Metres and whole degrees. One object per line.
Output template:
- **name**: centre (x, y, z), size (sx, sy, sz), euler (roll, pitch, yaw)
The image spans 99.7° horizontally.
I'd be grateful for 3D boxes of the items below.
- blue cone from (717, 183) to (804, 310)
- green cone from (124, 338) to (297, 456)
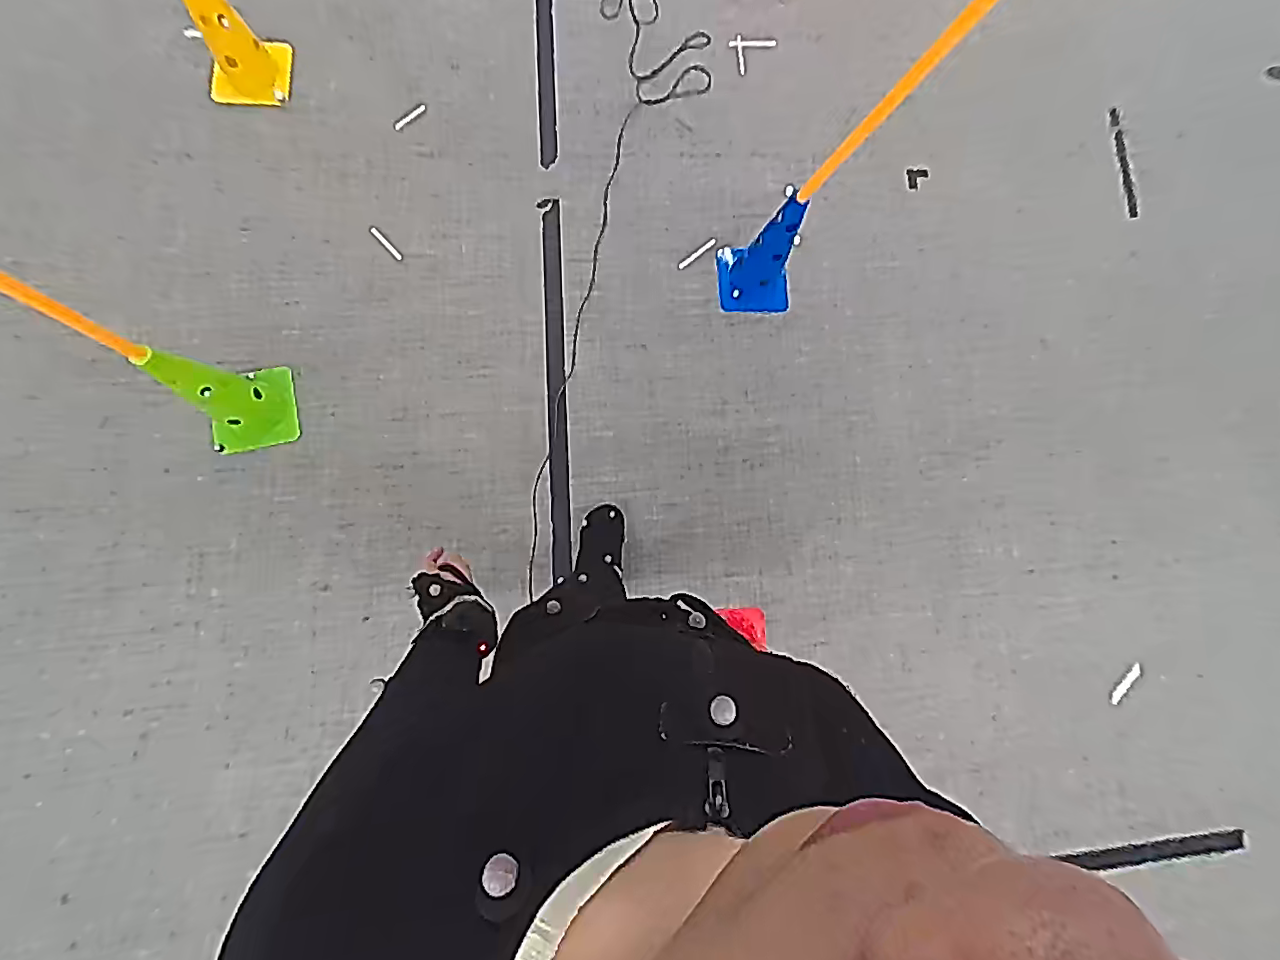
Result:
- **blue cone**: centre (0.336, -0.608, 1.391), size (0.193, 0.380, 0.192), euler (0, 79, -6)
- **green cone**: centre (-0.952, -0.206, 1.180), size (0.200, 0.368, 0.202), euler (-13, 80, -8)
